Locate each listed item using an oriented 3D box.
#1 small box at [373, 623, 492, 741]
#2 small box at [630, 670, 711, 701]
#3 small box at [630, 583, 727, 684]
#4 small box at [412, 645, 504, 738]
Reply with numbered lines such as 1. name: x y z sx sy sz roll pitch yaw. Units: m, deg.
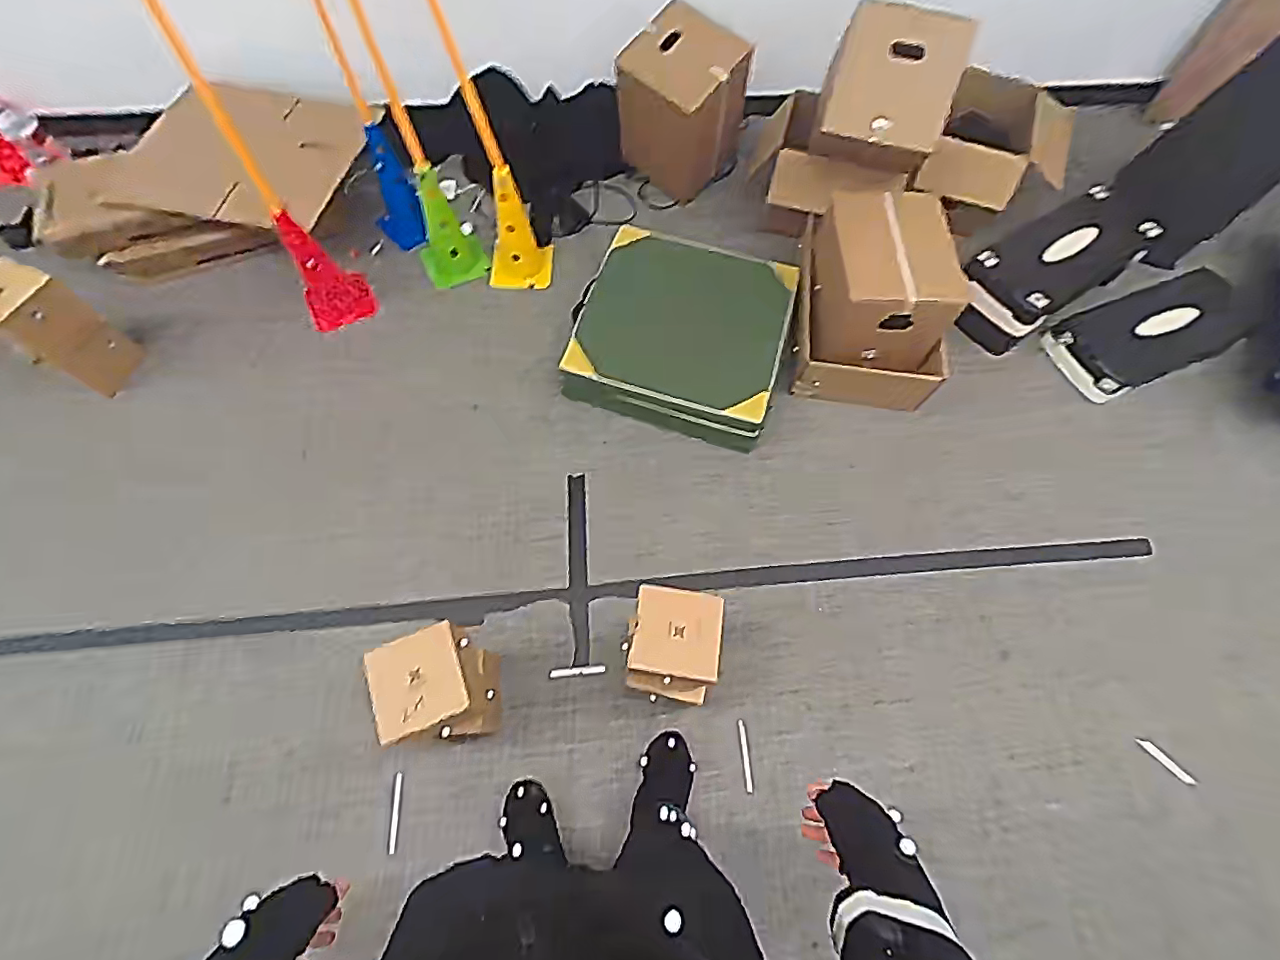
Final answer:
1. small box: -0.414 0.408 1.094 0.168 0.176 0.179 -17 70 -7
2. small box: 0.077 0.421 1.281 0.179 0.176 0.168 12 66 2
3. small box: 0.076 0.330 1.142 0.179 0.176 0.168 10 67 2
4. small box: -0.411 0.485 1.240 0.168 0.176 0.179 -5 65 -3
